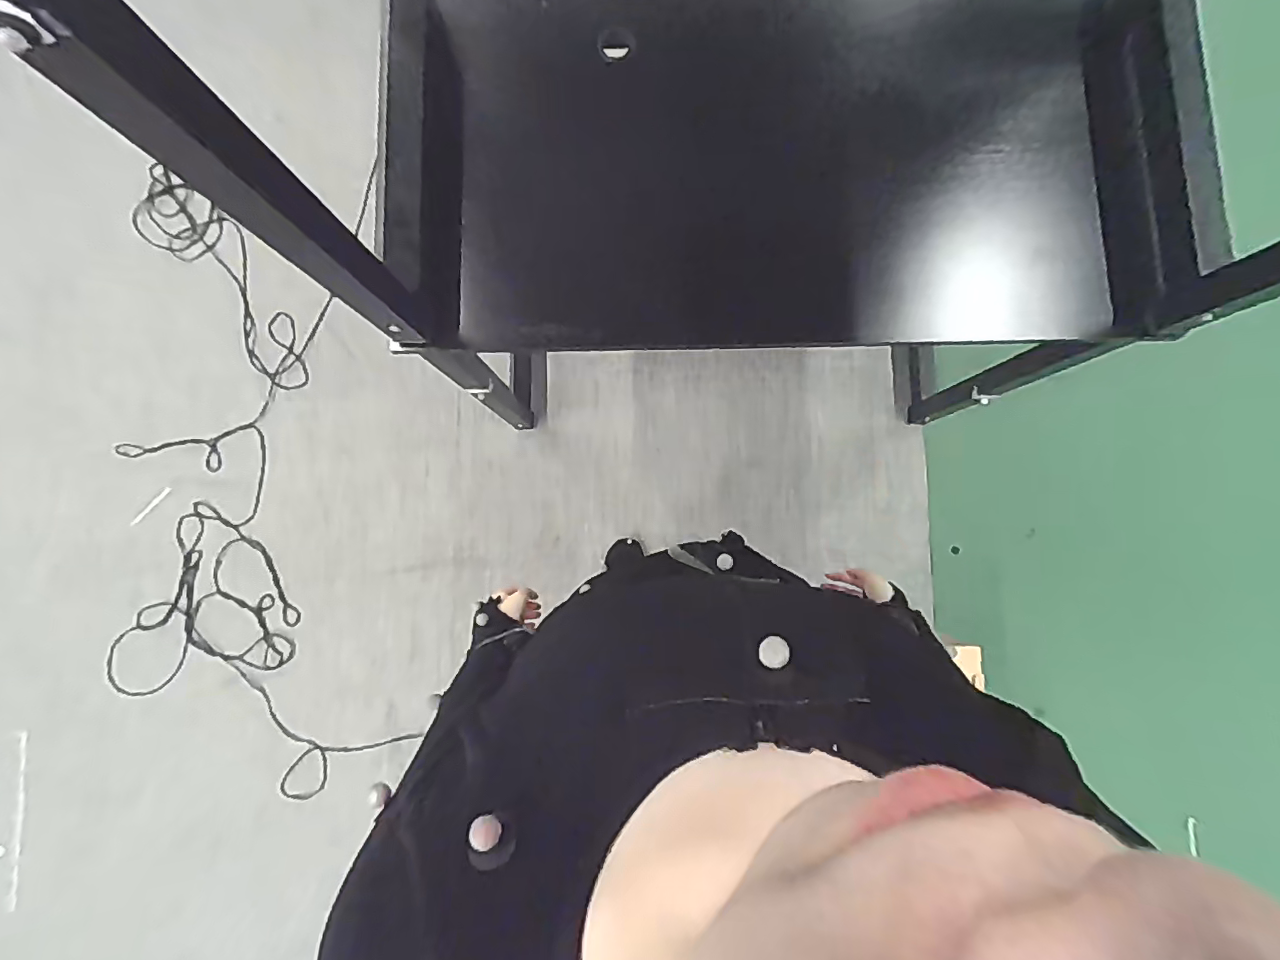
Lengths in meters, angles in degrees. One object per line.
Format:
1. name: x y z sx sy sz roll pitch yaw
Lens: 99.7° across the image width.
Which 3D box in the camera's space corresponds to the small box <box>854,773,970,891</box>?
1. small box: 0.591 0.780 1.194 0.168 0.176 0.179 11 85 3
